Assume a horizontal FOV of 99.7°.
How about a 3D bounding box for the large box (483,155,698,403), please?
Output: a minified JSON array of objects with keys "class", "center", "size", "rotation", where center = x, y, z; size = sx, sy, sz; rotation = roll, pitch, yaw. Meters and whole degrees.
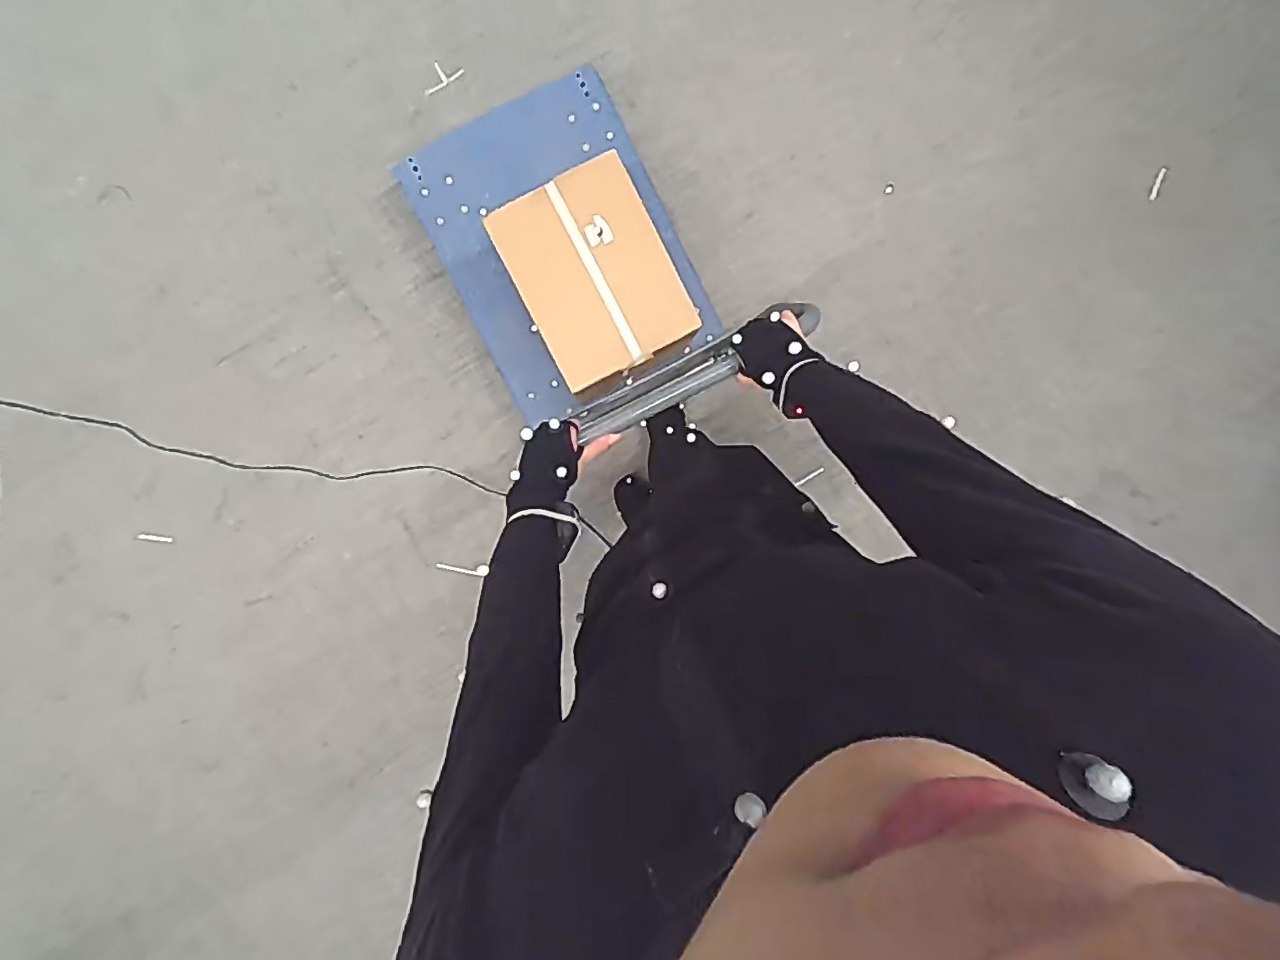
[{"class":"large box","center":[-0.102,-0.438,1.279],"size":[0.320,0.320,0.408],"rotation":[-27,93,-1]}]
